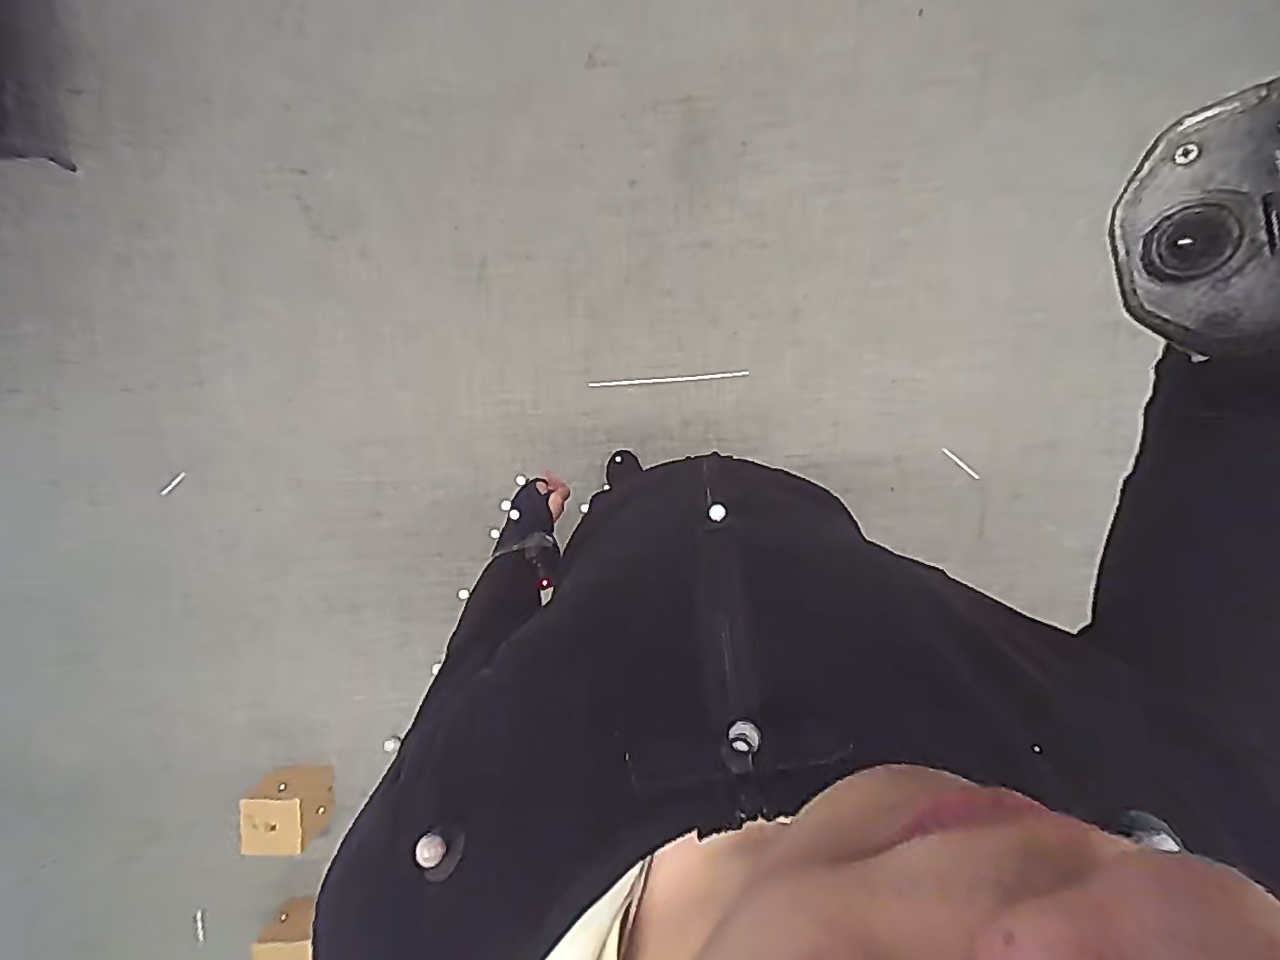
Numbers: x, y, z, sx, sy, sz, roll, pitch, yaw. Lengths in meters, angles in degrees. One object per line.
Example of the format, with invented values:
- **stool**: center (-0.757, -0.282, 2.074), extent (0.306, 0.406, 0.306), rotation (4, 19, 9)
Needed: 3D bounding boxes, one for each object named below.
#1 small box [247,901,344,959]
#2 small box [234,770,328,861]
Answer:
- **small box**: center (-1.014, 1.395, 1.601), extent (0.179, 0.176, 0.168), rotation (-4, 93, 1)
- **small box**: center (-1.044, 0.977, 1.586), extent (0.179, 0.176, 0.168), rotation (0, 91, 1)
